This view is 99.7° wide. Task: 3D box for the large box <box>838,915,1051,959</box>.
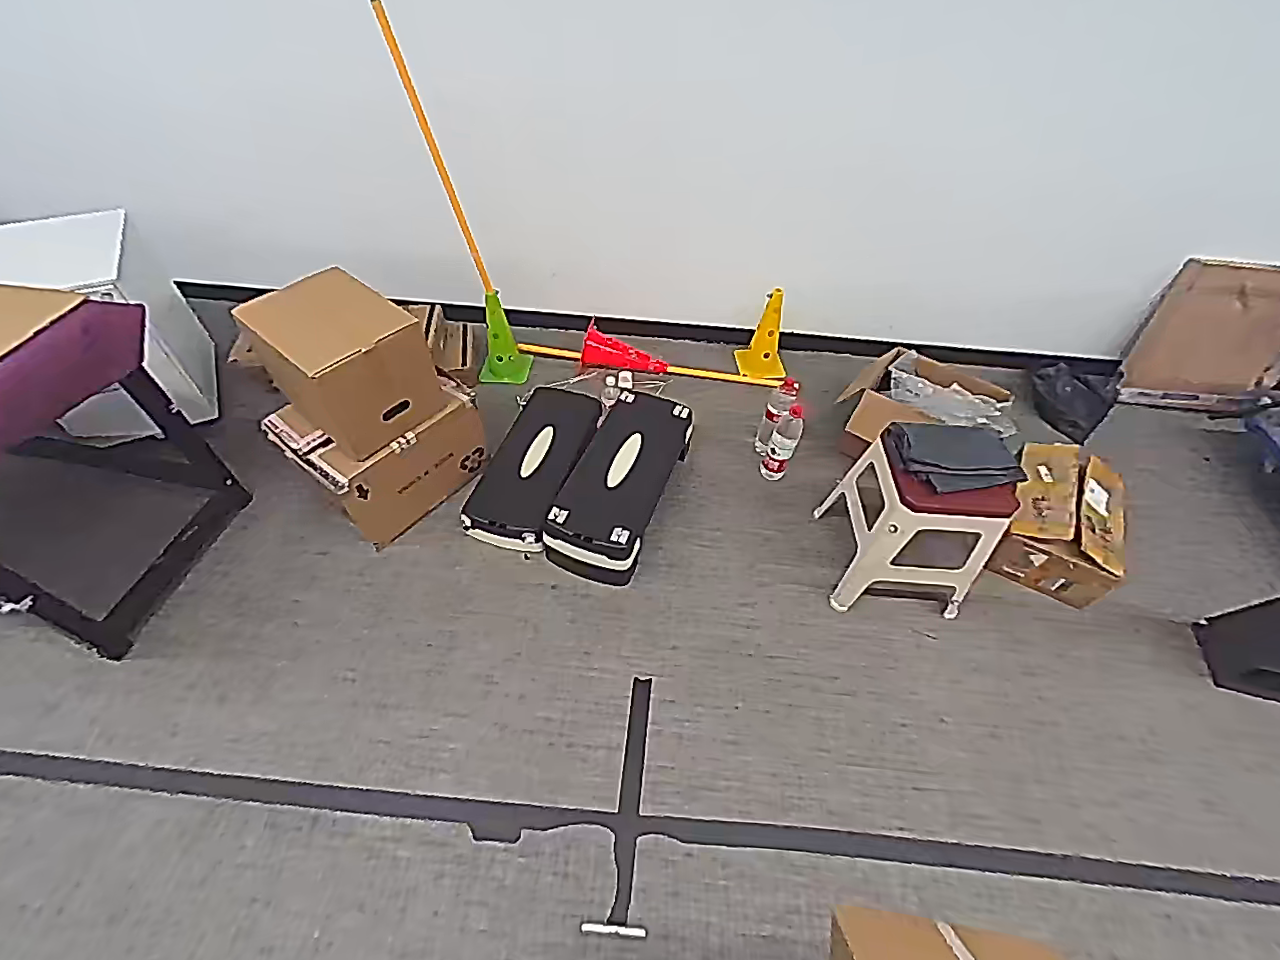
[{"bbox_3d":[0.413,0.795,0.586,0.320,0.408,0.320,7,83,6],"label":"large box"}]
